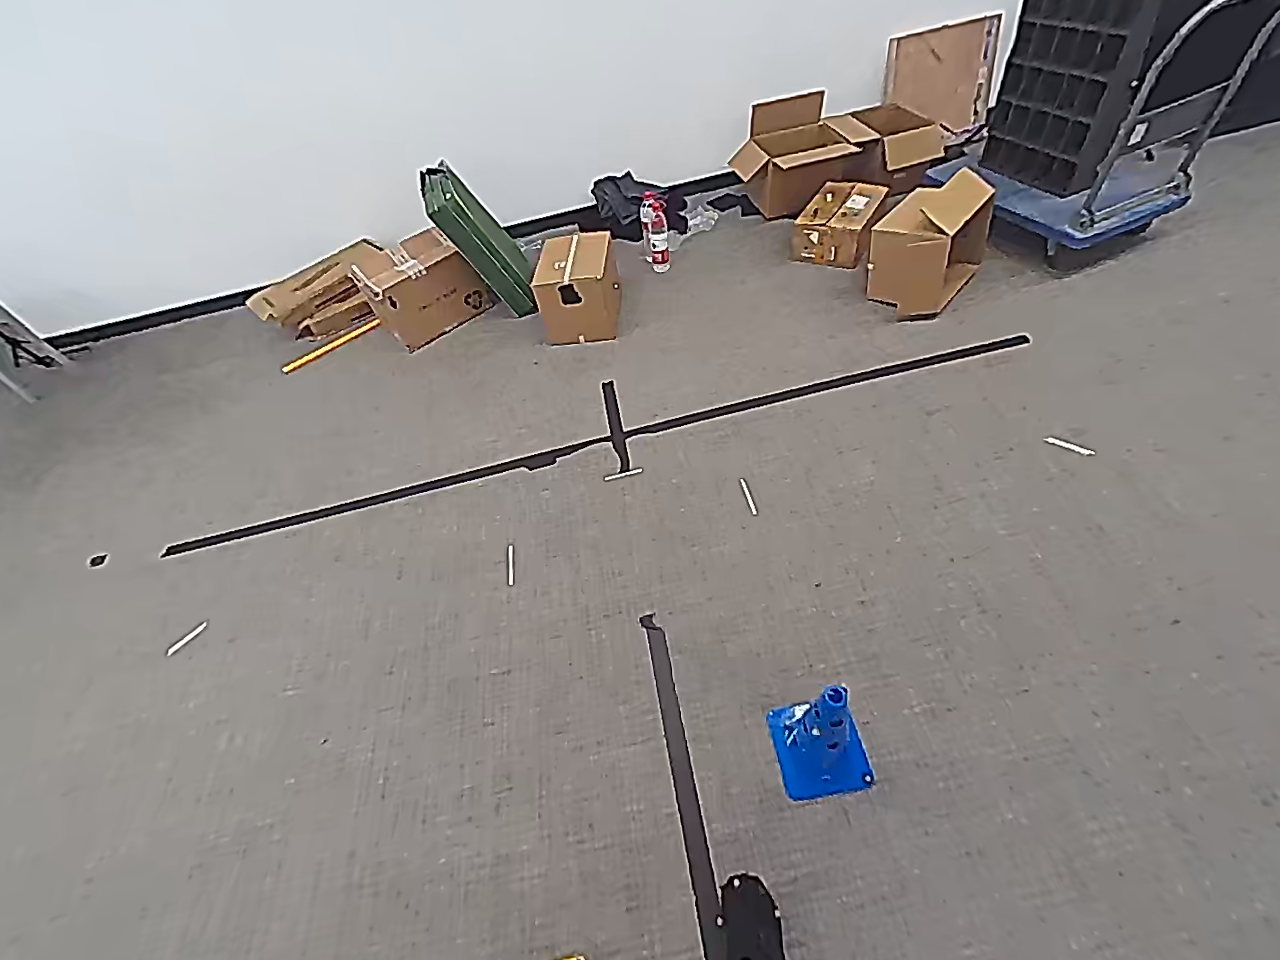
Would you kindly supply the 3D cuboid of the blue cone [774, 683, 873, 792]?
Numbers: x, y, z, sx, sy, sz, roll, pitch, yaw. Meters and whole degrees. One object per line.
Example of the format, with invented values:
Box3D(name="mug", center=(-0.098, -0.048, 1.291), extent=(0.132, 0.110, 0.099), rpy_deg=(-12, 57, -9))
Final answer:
Box3D(name="blue cone", center=(0.398, 0.514, 1.143), extent=(0.192, 0.380, 0.193), rpy_deg=(-9, 49, 3))
